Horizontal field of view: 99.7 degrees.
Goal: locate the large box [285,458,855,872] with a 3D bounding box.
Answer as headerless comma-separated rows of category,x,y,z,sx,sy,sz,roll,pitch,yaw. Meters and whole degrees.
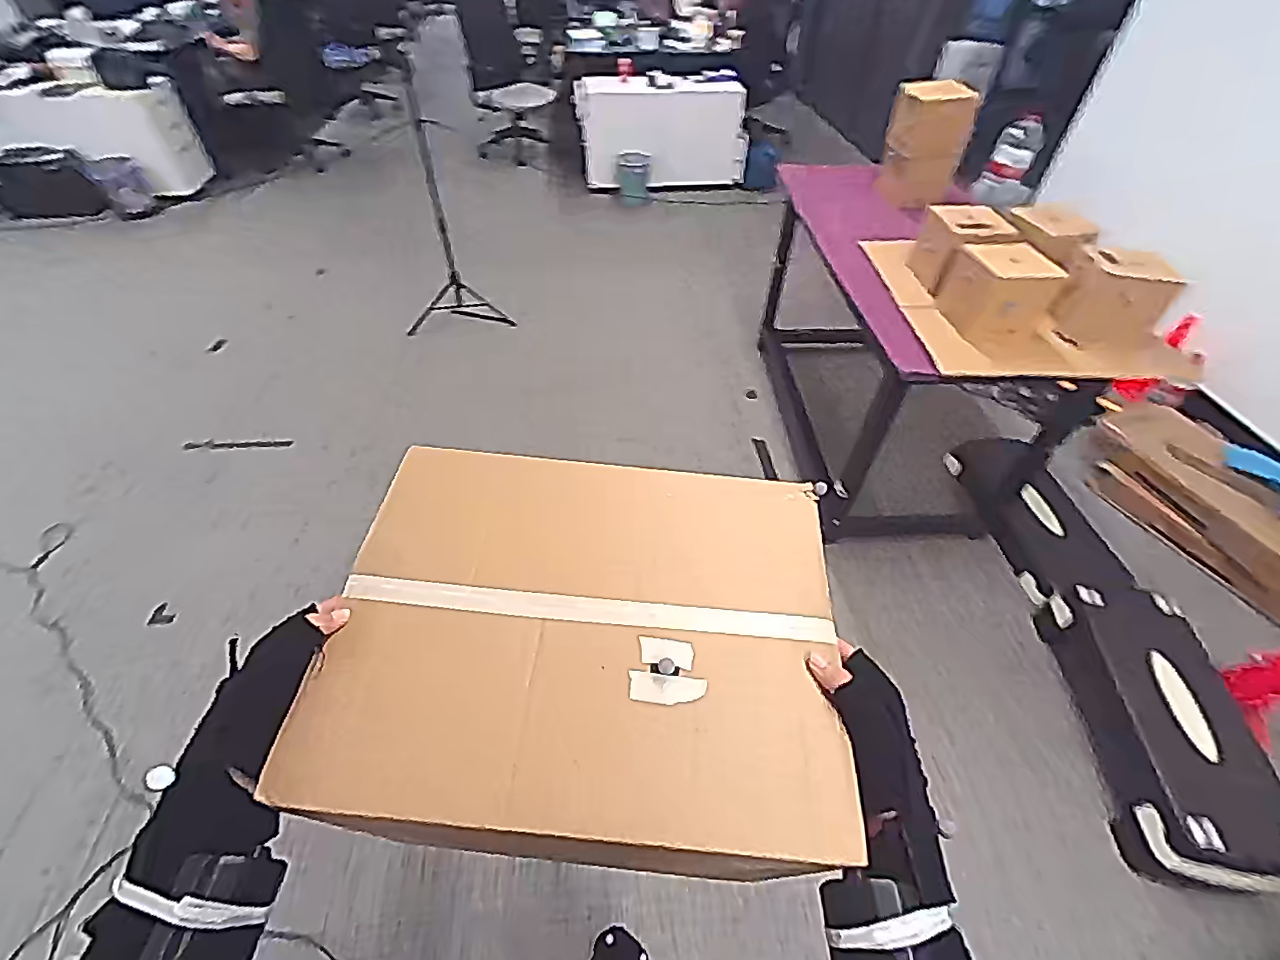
large box,-0.046,0.206,0.576,0.408,0.320,0.320,6,53,1
